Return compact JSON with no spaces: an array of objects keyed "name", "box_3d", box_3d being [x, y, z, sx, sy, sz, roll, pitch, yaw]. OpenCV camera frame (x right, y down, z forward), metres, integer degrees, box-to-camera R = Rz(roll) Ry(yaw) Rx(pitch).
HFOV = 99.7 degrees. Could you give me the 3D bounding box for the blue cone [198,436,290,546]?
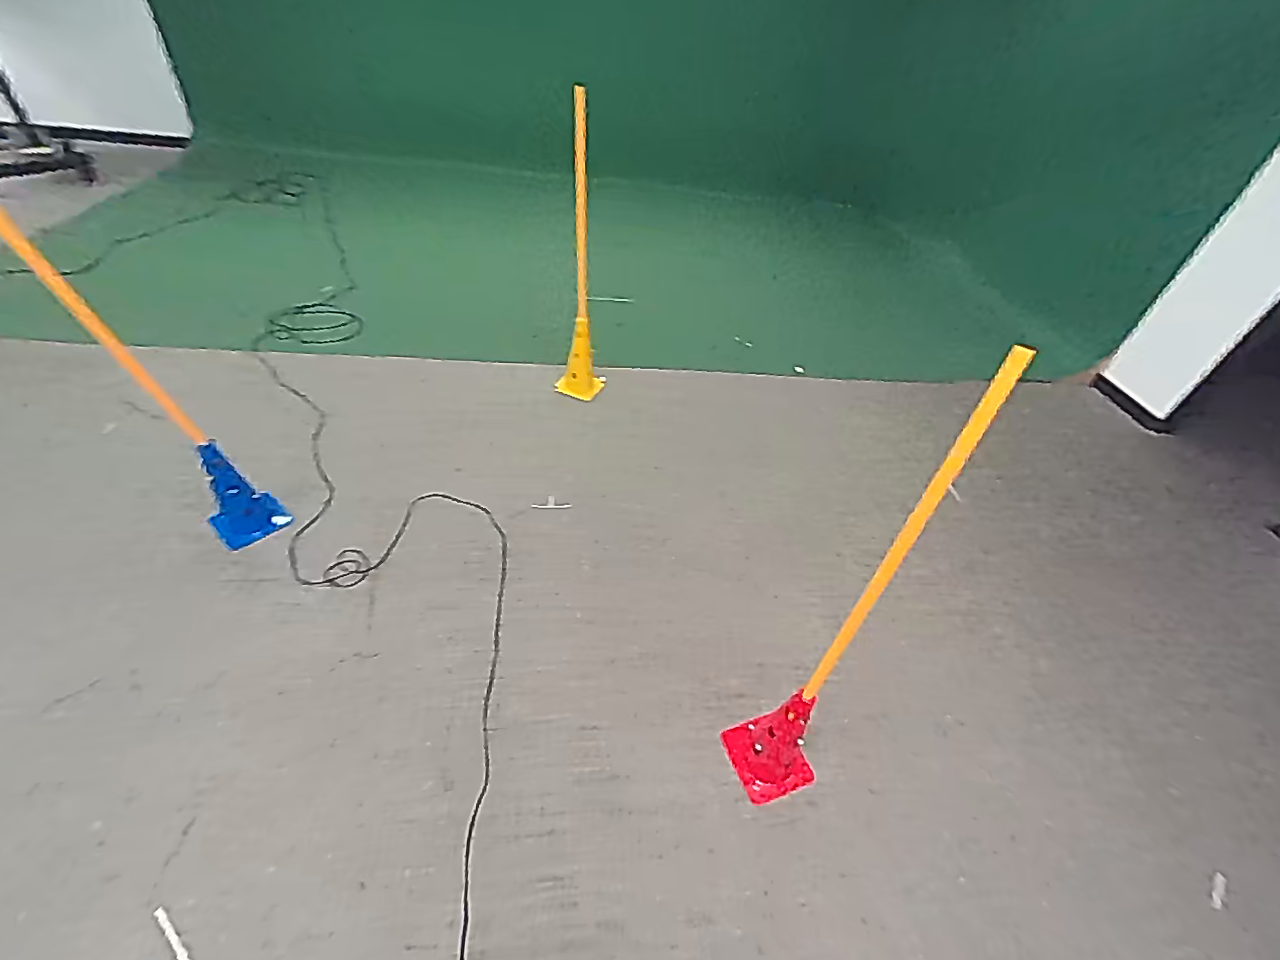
[{"name":"blue cone","box_3d":[-1.301,0.017,1.725,0.192,0.380,0.193,34,50,24]}]
